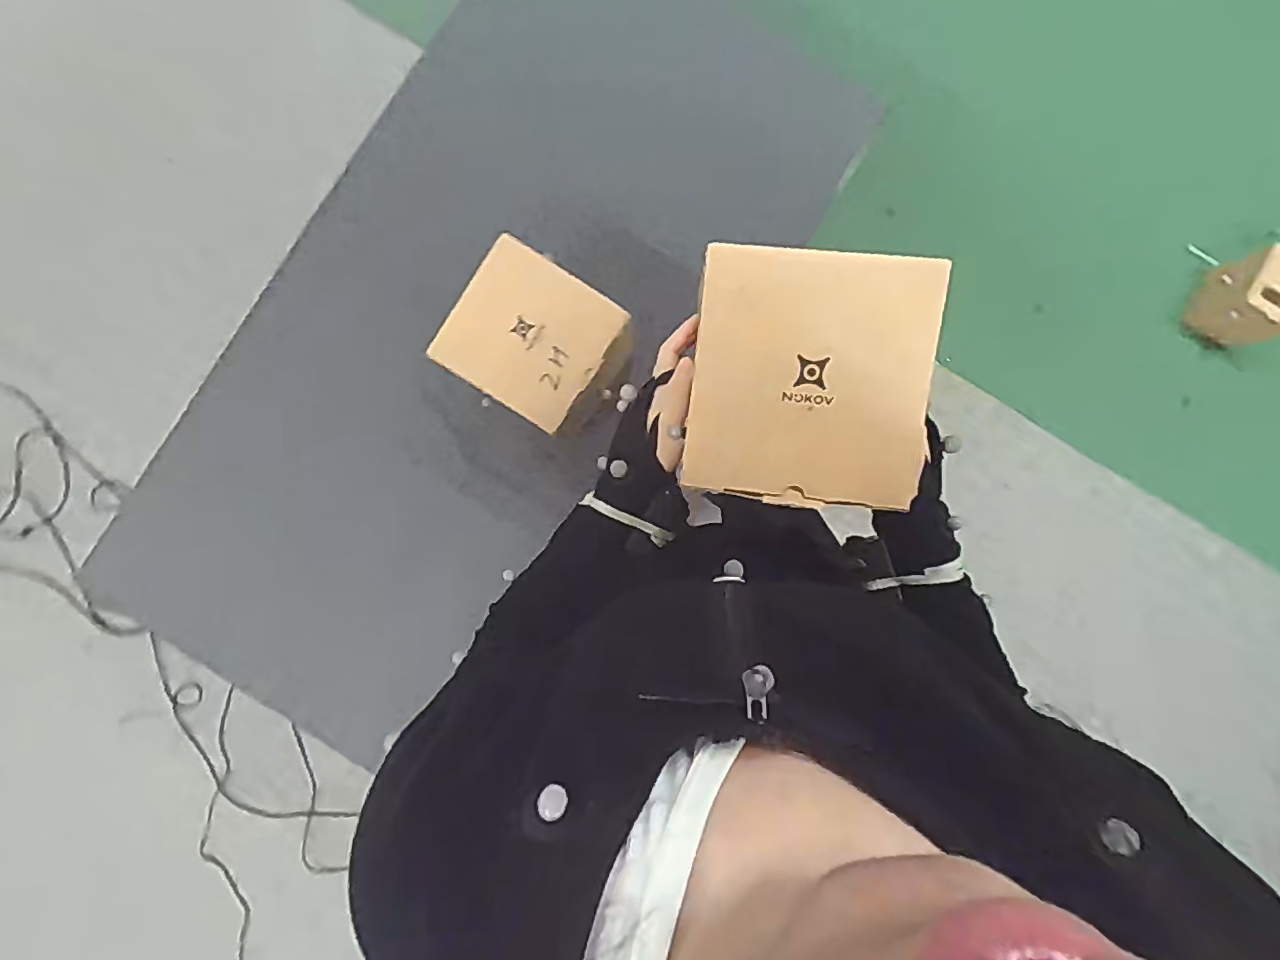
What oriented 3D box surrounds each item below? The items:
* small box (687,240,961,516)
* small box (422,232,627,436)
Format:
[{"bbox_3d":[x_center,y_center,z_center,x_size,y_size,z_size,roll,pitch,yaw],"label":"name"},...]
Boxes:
[{"bbox_3d":[0.131,-0.080,0.456,0.168,0.176,0.179,7,98,4],"label":"small box"},{"bbox_3d":[-0.132,-0.167,0.686,0.179,0.176,0.168,32,90,-1],"label":"small box"}]
